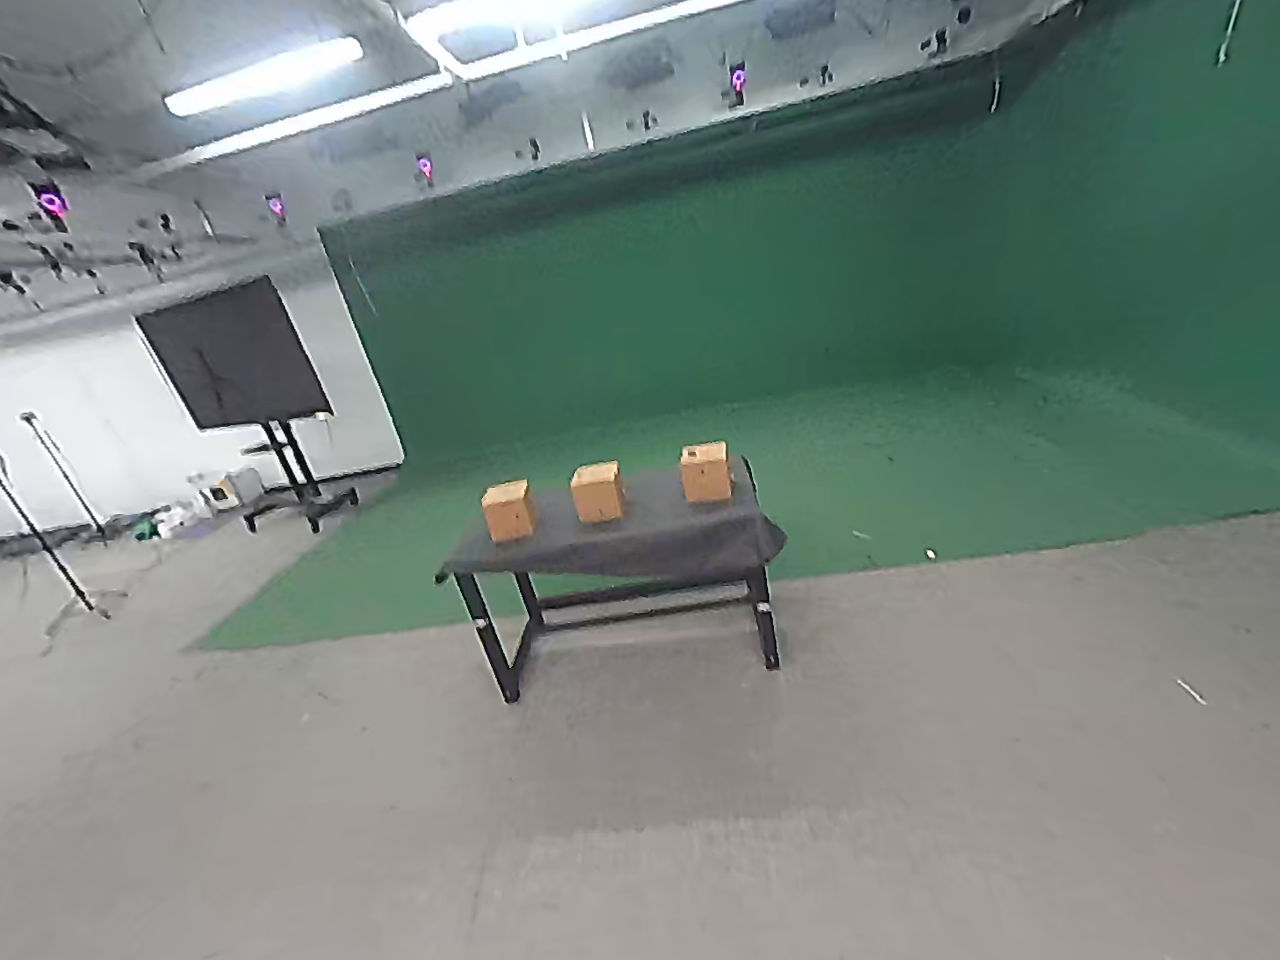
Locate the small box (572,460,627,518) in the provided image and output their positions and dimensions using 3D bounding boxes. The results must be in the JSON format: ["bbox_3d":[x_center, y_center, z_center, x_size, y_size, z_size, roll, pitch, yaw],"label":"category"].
[{"bbox_3d":[-0.156,0.038,2.173,0.179,0.176,0.168,-8,23,10],"label":"small box"}]

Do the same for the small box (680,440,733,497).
[{"bbox_3d":[0.266,-0.042,2.125,0.179,0.176,0.168,-7,23,14],"label":"small box"}]

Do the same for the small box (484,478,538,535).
[{"bbox_3d":[-0.517,0.112,2.195,0.168,0.176,0.179,-11,20,0],"label":"small box"}]
